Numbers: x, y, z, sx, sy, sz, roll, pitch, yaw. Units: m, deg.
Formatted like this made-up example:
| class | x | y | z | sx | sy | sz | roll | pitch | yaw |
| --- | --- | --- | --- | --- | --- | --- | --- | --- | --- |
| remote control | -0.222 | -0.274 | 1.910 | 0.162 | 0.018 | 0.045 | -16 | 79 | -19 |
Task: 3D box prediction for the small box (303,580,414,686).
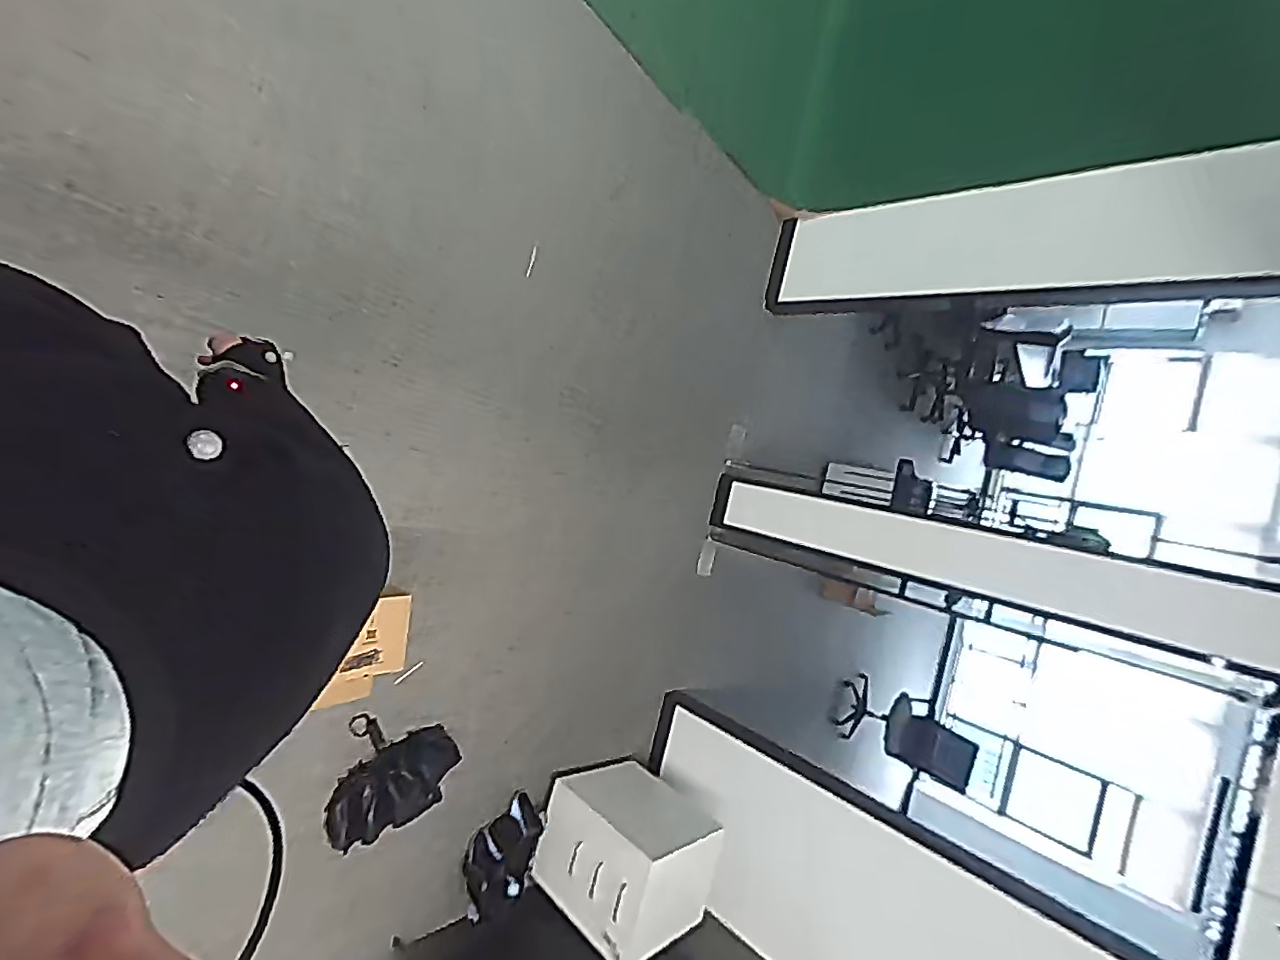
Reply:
| class | x | y | z | sx | sy | sz | roll | pitch | yaw |
| --- | --- | --- | --- | --- | --- | --- | --- | --- | --- |
| small box | -0.631 | 0.331 | 1.207 | 0.168 | 0.176 | 0.179 | 6 | 91 | -49 |
